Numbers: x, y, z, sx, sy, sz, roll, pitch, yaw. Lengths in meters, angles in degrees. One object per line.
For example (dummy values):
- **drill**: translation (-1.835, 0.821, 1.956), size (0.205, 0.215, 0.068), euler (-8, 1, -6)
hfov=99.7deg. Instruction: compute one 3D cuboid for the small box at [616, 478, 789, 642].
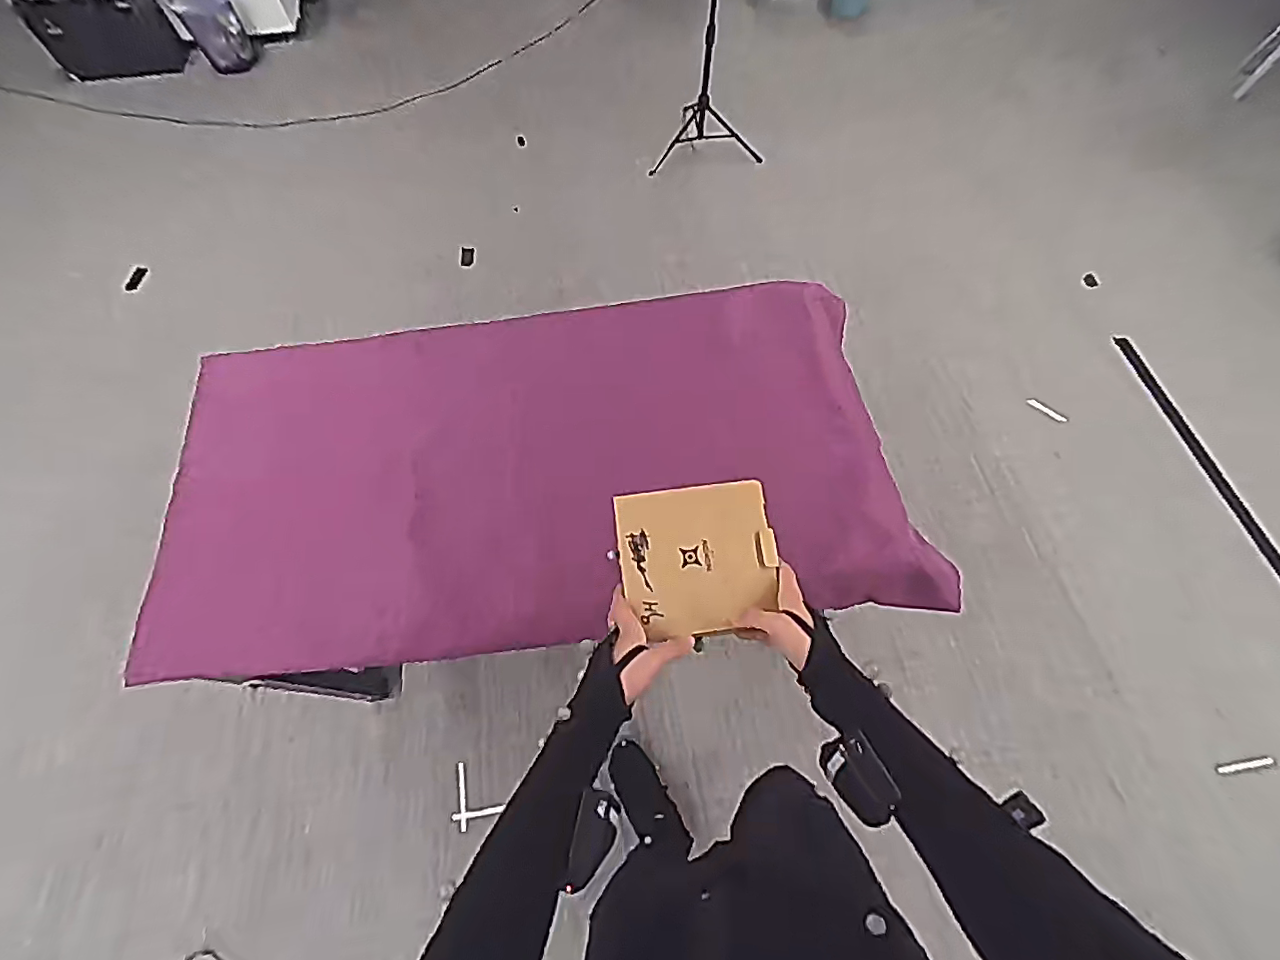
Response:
- **small box**: translation (0.064, 0.106, 0.672), size (0.179, 0.176, 0.168), euler (-6, 71, -3)
